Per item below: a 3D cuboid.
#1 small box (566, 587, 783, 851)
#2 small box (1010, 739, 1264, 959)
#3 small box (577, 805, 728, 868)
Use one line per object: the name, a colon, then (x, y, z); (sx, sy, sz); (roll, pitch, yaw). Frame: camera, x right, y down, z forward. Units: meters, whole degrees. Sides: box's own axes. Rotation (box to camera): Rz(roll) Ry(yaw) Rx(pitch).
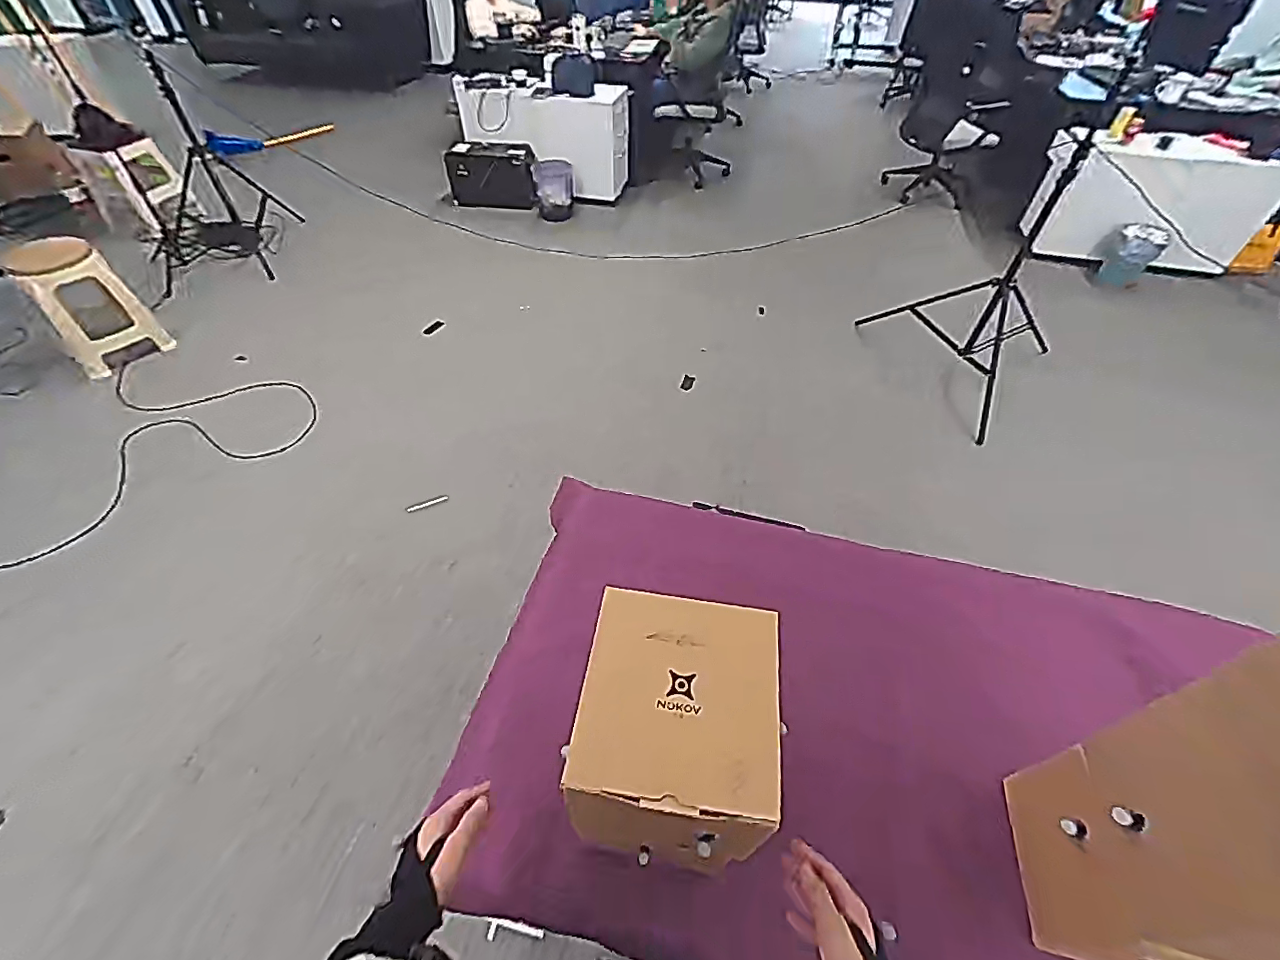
small box: (0.035, 0.229, 0.513); (0.168, 0.176, 0.179); (8, 47, 4)
small box: (0.540, 0.414, 0.583); (0.168, 0.176, 0.179); (11, 48, 9)
small box: (0.030, 0.332, 0.638); (0.168, 0.176, 0.179); (8, 47, 5)
